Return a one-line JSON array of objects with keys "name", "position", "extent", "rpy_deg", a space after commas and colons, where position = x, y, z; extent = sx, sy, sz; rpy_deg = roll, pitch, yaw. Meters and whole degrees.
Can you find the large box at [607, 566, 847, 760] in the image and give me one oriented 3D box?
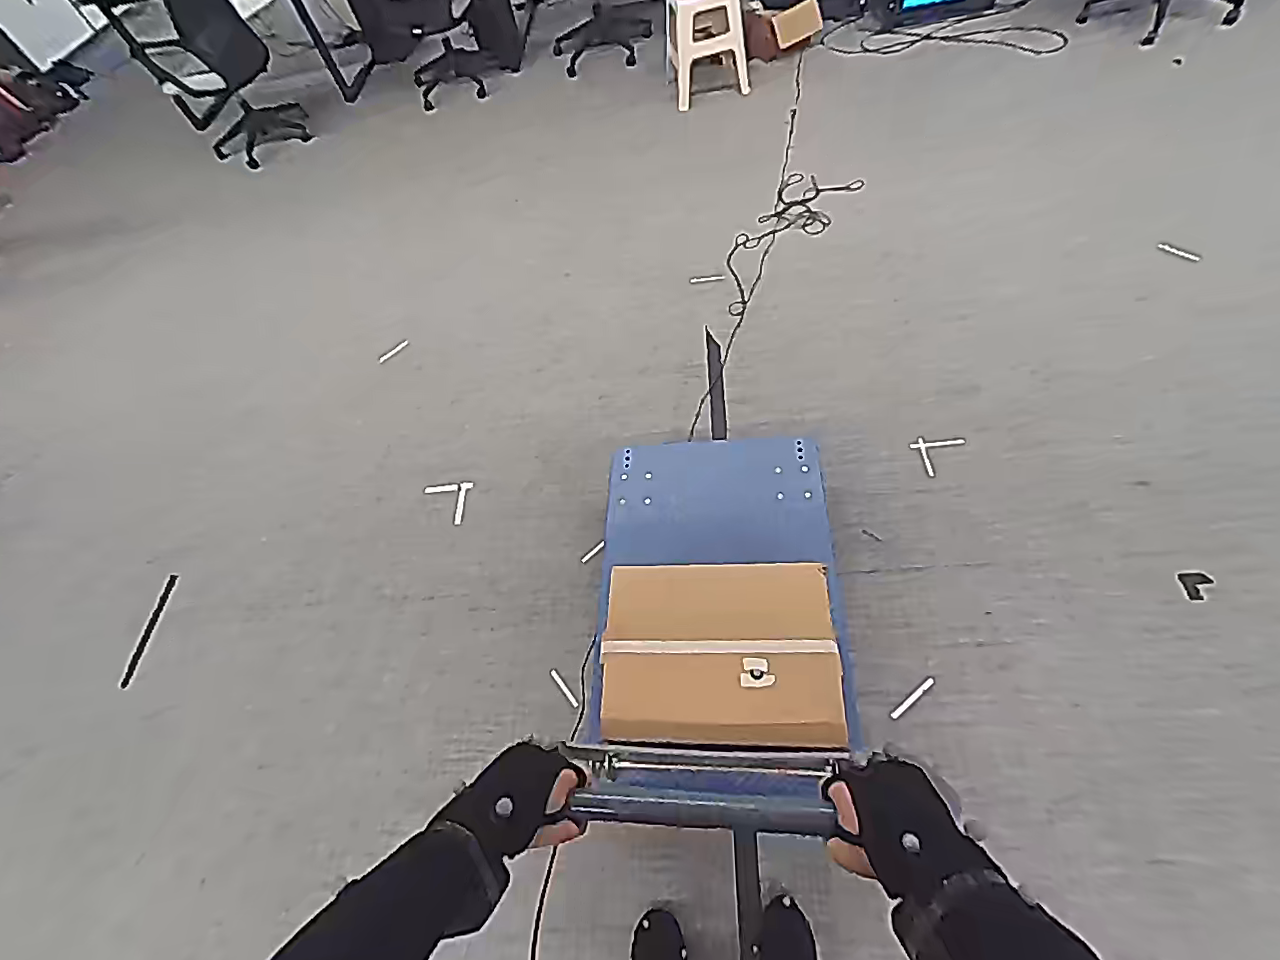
[{"name": "large box", "position": [0.161, 0.382, 1.095], "extent": [0.408, 0.320, 0.320], "rpy_deg": [-3, 59, 8]}]
